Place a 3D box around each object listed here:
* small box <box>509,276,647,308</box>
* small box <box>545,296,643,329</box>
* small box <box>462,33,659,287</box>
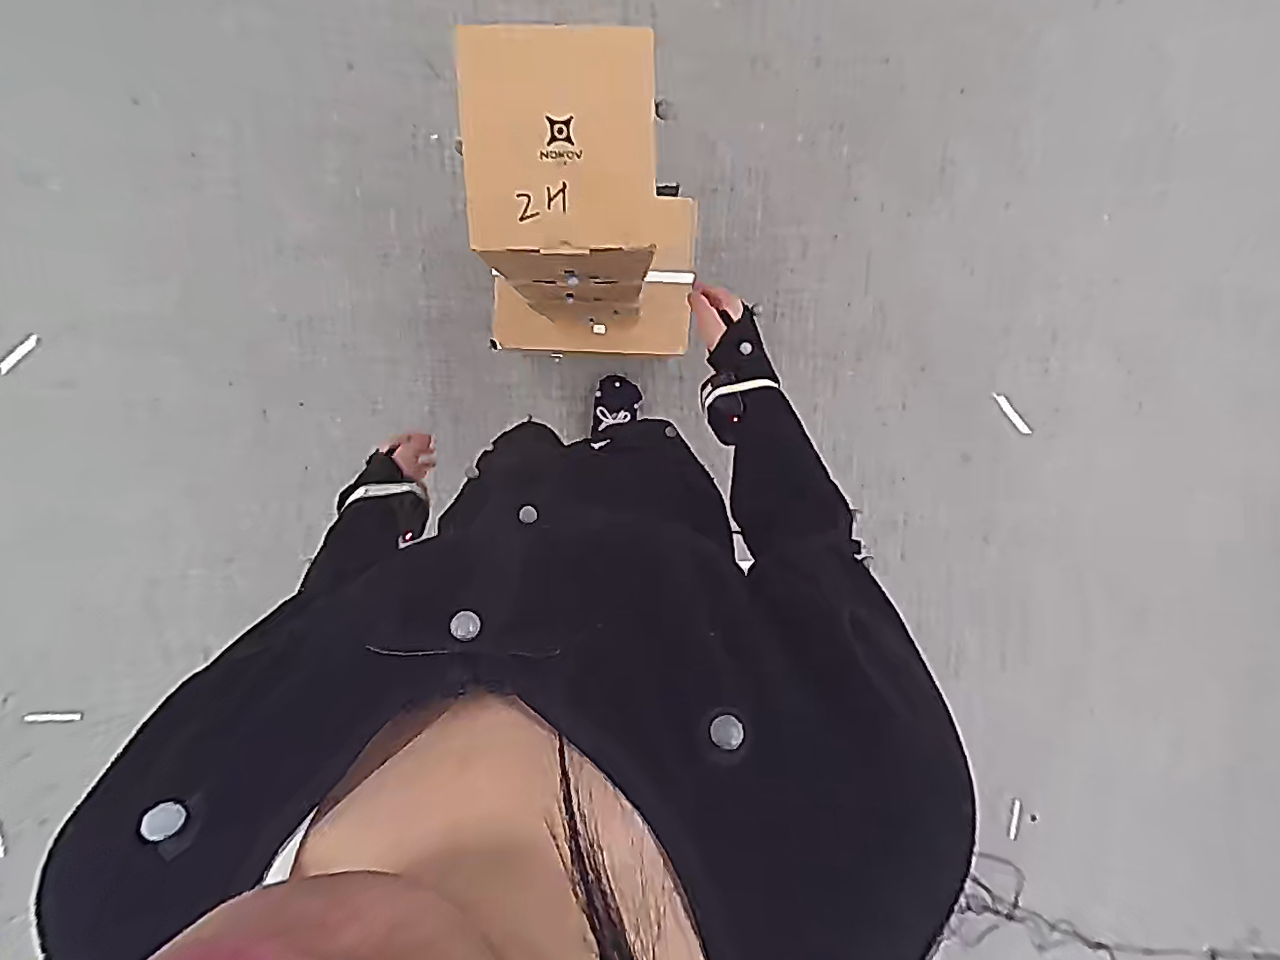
[{"bbox_3d":[-0.077,-0.327,0.705,0.168,0.176,0.179,0,102,-3],"label":"small box"},{"bbox_3d":[-0.085,-0.378,1.027,0.179,0.176,0.168,-1,102,-4],"label":"small box"},{"bbox_3d":[-0.070,-0.299,0.542,0.168,0.176,0.179,-1,102,-2],"label":"small box"}]
